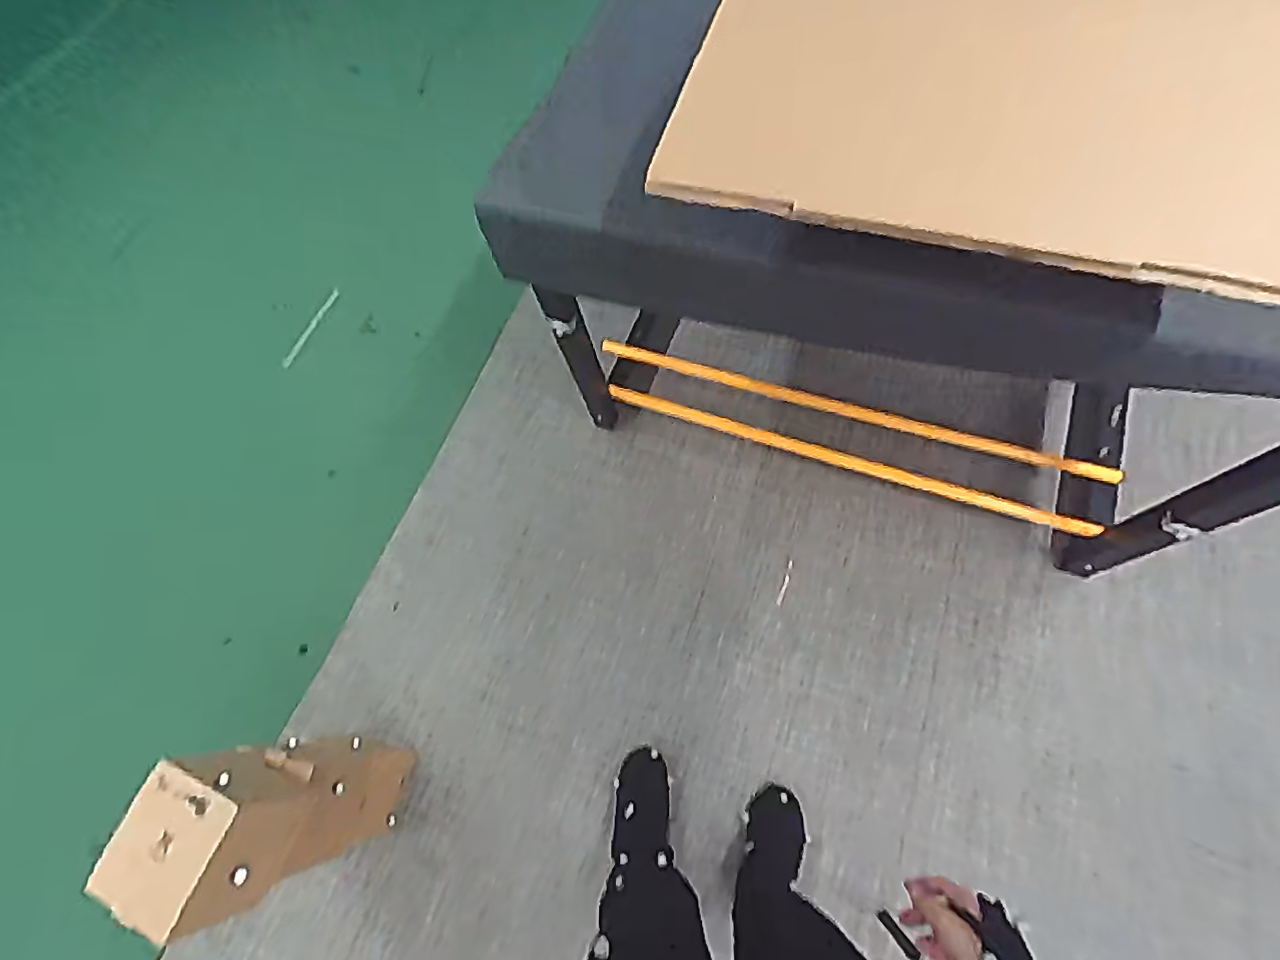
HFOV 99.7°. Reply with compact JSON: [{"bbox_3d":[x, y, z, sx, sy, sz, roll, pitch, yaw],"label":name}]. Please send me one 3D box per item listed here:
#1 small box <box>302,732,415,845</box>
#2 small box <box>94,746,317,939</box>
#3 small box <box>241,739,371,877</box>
[{"bbox_3d":[-0.613,0.638,1.140,0.179,0.176,0.168,8,68,13],"label":"small box"},{"bbox_3d":[-0.647,0.534,0.830,0.168,0.176,0.179,17,72,16],"label":"small box"},{"bbox_3d":[-0.630,0.583,0.988,0.168,0.176,0.179,5,69,13],"label":"small box"}]
